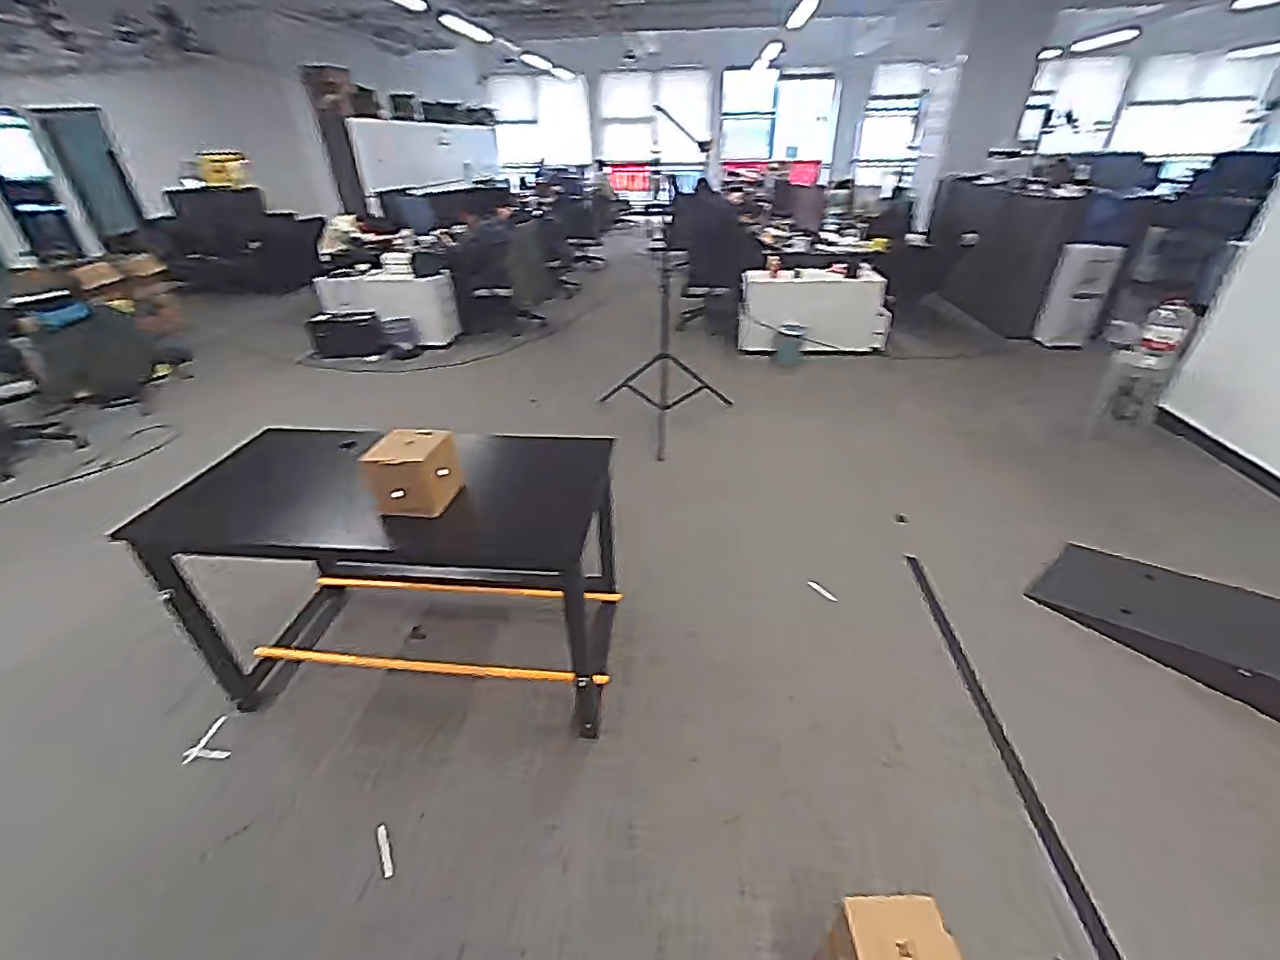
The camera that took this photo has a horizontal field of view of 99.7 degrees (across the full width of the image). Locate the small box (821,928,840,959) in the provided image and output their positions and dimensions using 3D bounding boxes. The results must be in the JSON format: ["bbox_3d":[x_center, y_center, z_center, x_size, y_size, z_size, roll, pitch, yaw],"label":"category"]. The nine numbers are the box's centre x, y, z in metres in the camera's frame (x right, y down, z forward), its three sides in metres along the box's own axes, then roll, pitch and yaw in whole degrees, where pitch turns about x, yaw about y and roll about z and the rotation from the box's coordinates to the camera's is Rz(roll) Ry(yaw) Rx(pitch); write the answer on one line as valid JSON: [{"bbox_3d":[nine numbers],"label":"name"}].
[{"bbox_3d":[0.469,1.038,1.078,0.168,0.176,0.179,0,33,4],"label":"small box"}]

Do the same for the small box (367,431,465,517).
[{"bbox_3d":[-0.585,-0.015,1.443,0.168,0.176,0.179,3,32,7],"label":"small box"}]

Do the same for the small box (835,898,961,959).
[{"bbox_3d":[0.477,0.901,0.991,0.179,0.176,0.168,-2,31,1],"label":"small box"}]
